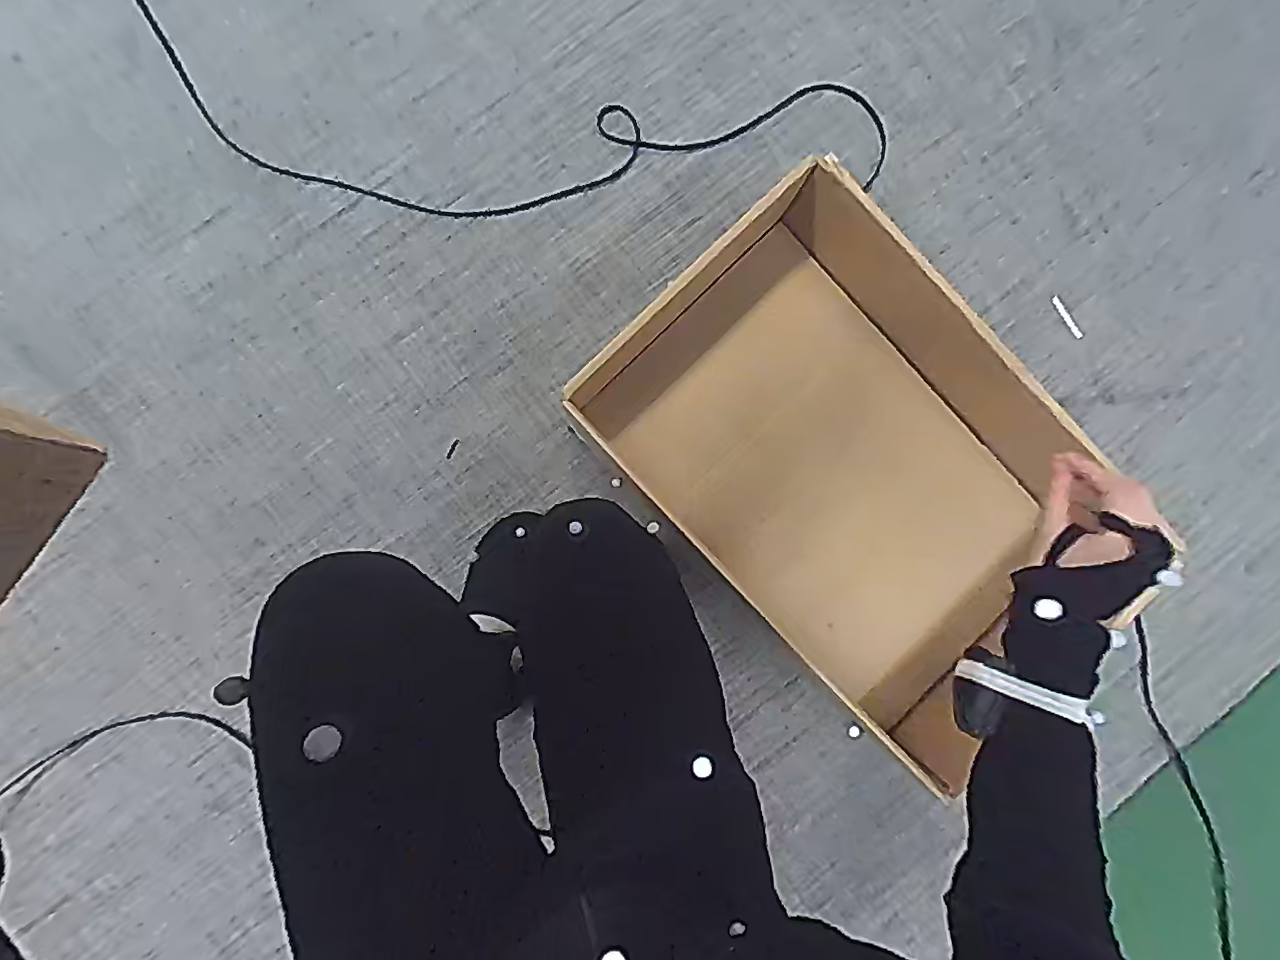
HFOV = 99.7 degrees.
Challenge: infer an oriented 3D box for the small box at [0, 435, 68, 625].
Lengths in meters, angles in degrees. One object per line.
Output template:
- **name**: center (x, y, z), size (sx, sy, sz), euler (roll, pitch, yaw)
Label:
- **small box**: center (-0.275, 0.034, 0.091), size (0.168, 0.176, 0.179), euler (29, 74, -21)
